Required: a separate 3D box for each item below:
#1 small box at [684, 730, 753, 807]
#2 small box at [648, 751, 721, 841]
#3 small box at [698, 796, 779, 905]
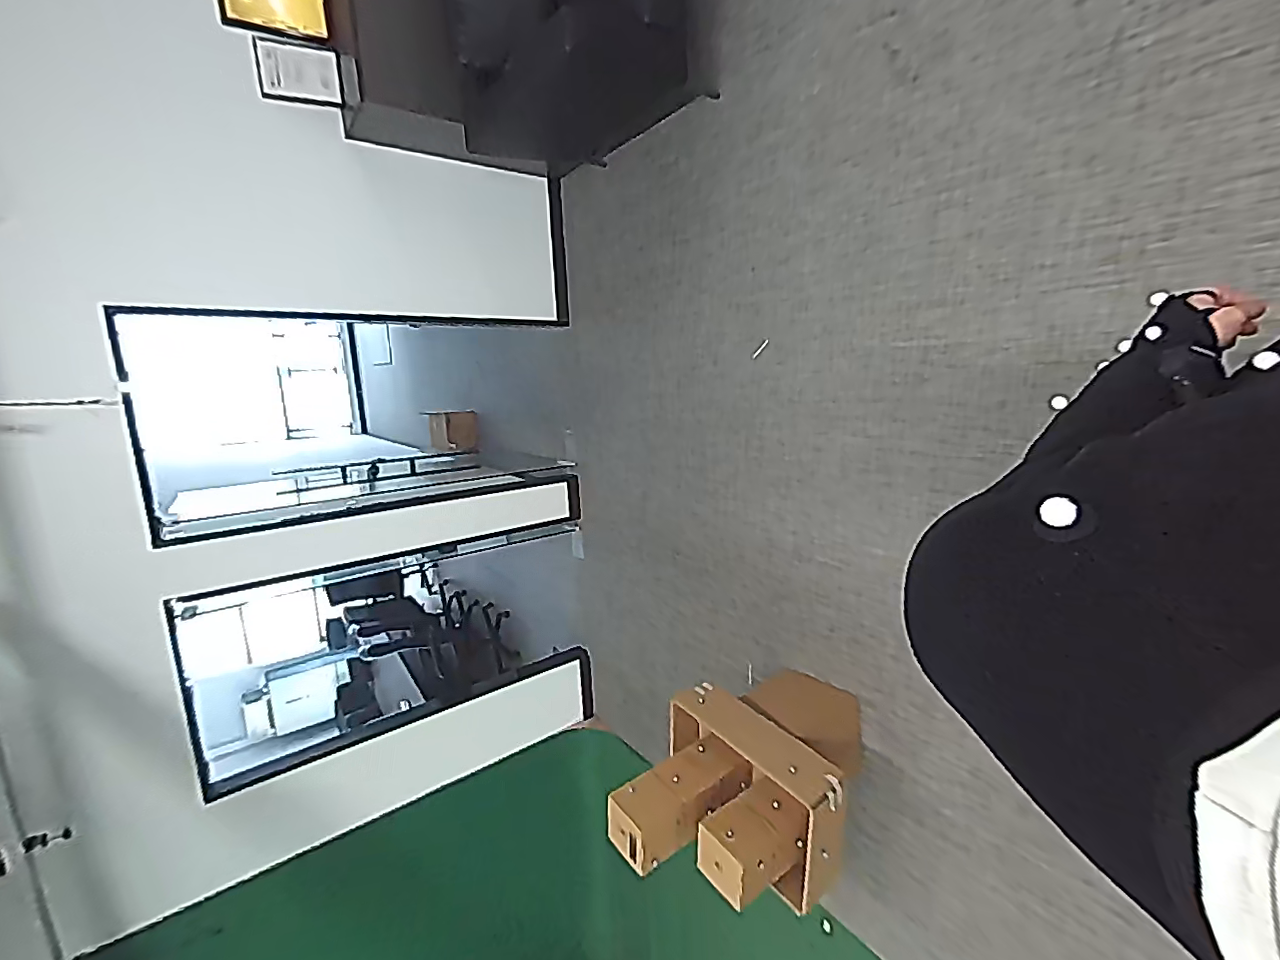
[{"bbox_3d":[0.271,1.010,1.894,0.179,0.176,0.168,16,111,50],"label":"small box"},{"bbox_3d":[0.146,1.034,1.796,0.179,0.176,0.168,14,109,50],"label":"small box"},{"bbox_3d":[0.293,1.083,1.601,0.179,0.176,0.168,18,111,52],"label":"small box"}]
